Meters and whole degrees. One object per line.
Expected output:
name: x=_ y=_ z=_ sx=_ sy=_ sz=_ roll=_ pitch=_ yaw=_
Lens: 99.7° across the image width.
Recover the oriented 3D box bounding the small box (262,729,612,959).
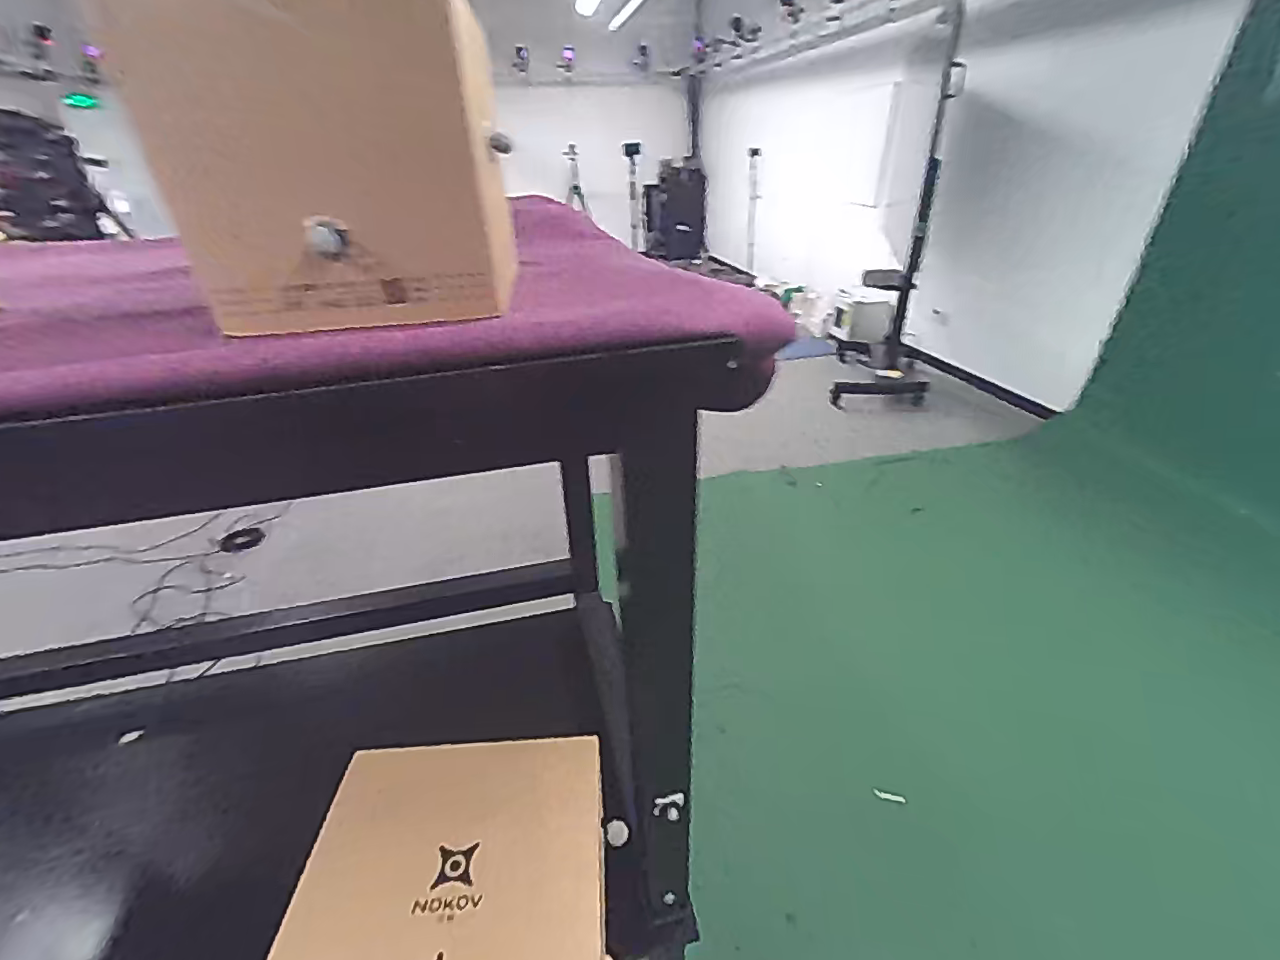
small box: x=-0.104 y=0.286 z=0.335 sx=0.168 sy=0.176 sz=0.179 roll=-2 pitch=29 yaw=-3

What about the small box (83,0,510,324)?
small box: x=-0.183 y=-0.210 z=0.355 sx=0.168 sy=0.176 sz=0.179 roll=-7 pitch=33 yaw=-6
